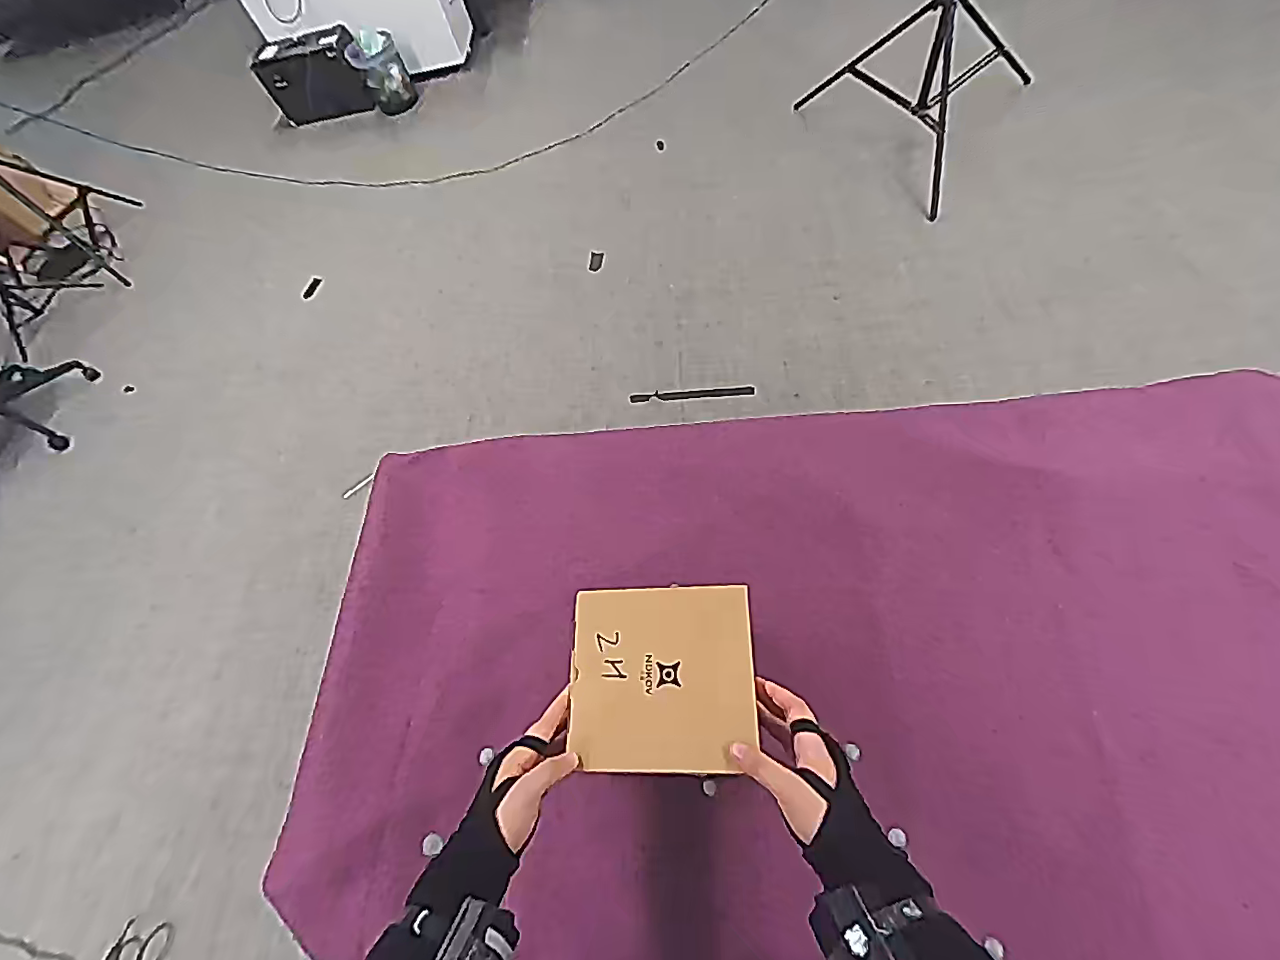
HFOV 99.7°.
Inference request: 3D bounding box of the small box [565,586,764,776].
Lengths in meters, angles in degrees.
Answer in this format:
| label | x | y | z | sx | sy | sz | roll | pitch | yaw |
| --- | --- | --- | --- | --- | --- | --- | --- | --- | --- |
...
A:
| label | x | y | z | sx | sy | sz | roll | pitch | yaw |
| --- | --- | --- | --- | --- | --- | --- | --- | --- | --- |
| small box | 0.033 | 0.216 | 0.573 | 0.179 | 0.176 | 0.168 | -4 | 61 | 9 |
